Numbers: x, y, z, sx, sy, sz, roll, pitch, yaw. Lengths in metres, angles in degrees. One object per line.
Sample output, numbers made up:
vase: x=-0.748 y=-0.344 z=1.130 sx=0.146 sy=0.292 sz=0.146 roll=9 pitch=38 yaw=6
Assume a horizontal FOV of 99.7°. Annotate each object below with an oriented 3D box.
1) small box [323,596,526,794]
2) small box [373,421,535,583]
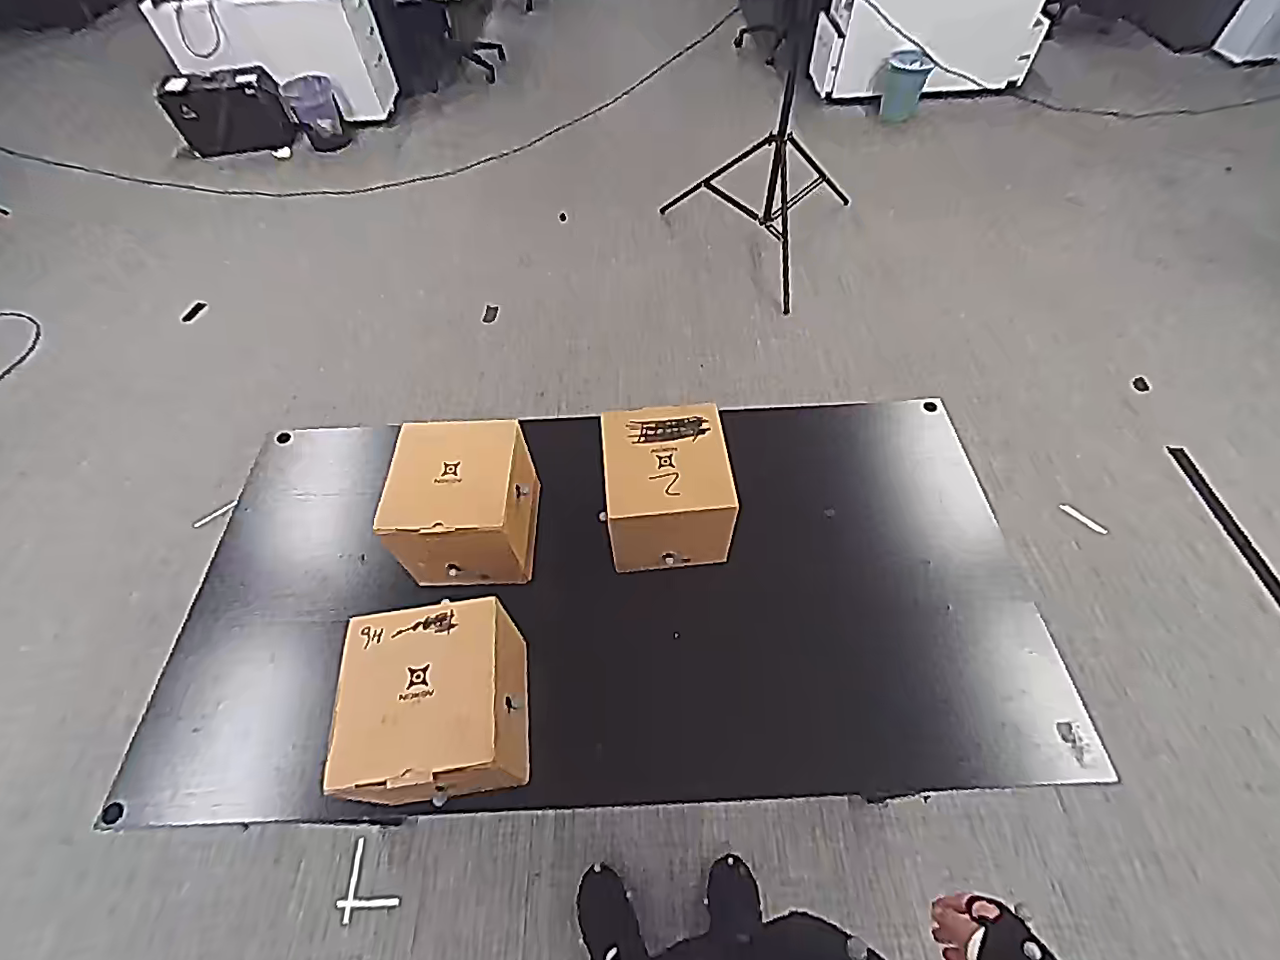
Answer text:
small box: x=-0.232 y=0.257 z=0.631 sx=0.168 sy=0.176 sz=0.179 roll=-8 pitch=56 yaw=-3
small box: x=-0.252 y=0.034 z=0.784 sx=0.168 sy=0.176 sz=0.179 roll=-2 pitch=56 yaw=1
